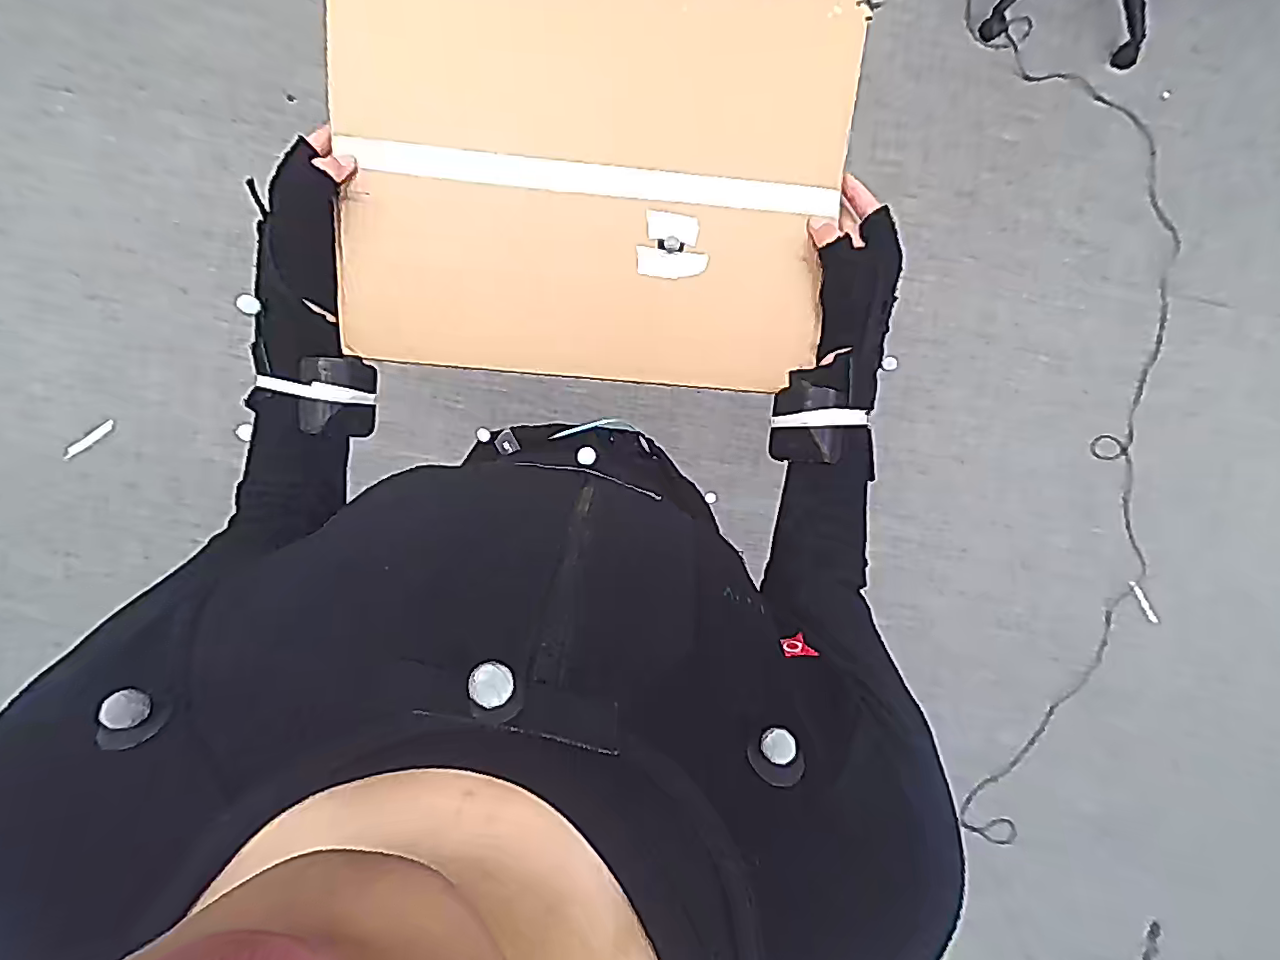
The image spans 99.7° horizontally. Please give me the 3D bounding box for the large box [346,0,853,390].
[{"bbox_3d":[-0.046,-0.274,0.595,0.408,0.320,0.320,4,104,-5],"label":"large box"}]
